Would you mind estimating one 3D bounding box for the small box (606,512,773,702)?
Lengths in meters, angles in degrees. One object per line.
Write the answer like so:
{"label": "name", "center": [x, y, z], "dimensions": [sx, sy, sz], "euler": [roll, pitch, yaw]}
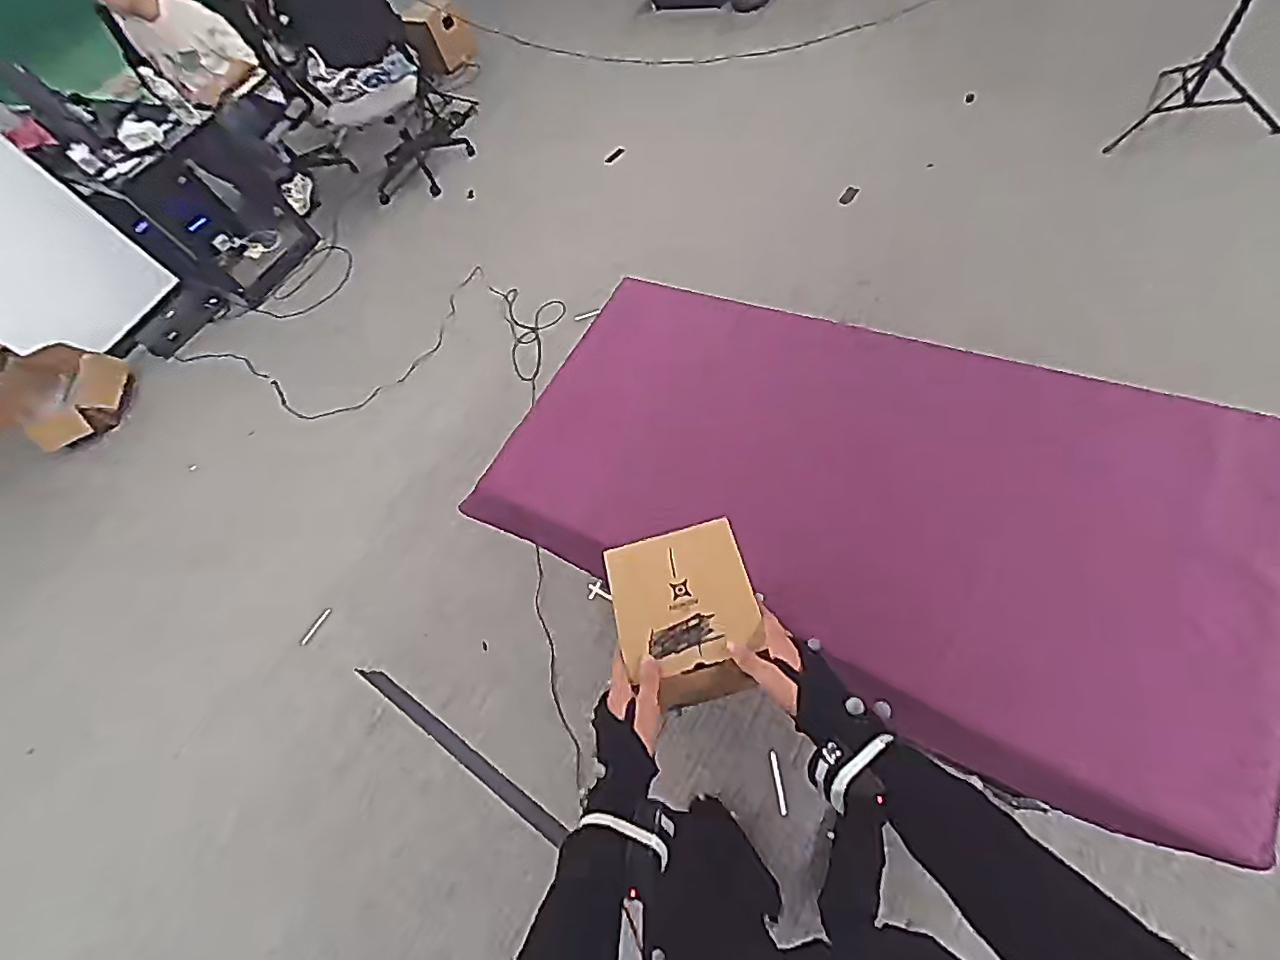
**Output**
{"label": "small box", "center": [0.068, 0.173, 0.697], "dimensions": [0.168, 0.176, 0.179], "euler": [-16, 55, 3]}
